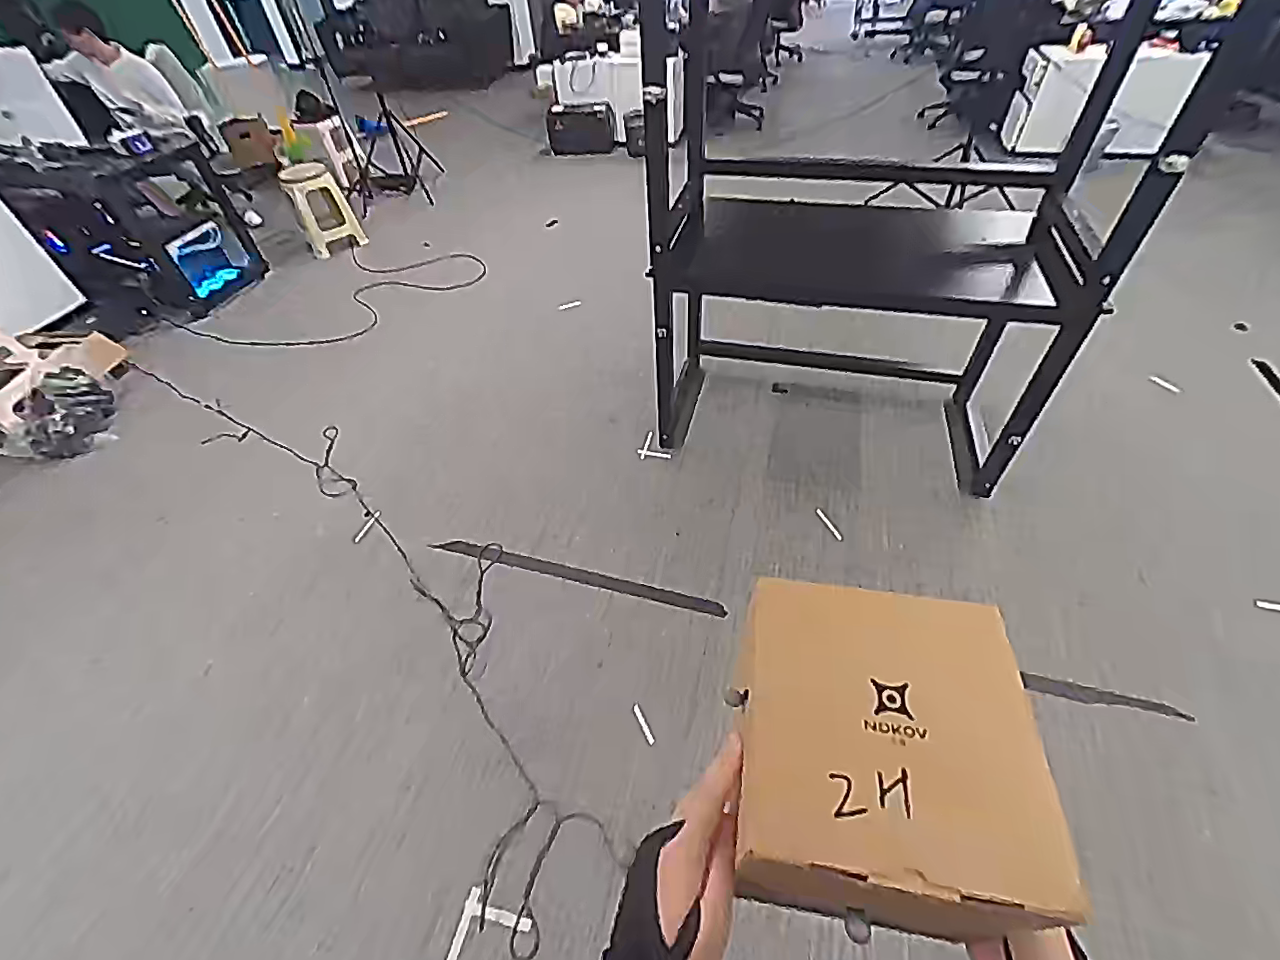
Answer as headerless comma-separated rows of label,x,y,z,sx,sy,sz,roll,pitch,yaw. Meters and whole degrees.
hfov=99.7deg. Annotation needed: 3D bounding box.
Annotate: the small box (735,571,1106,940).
small box,0.160,0.192,0.383,0.168,0.176,0.179,6,47,9
